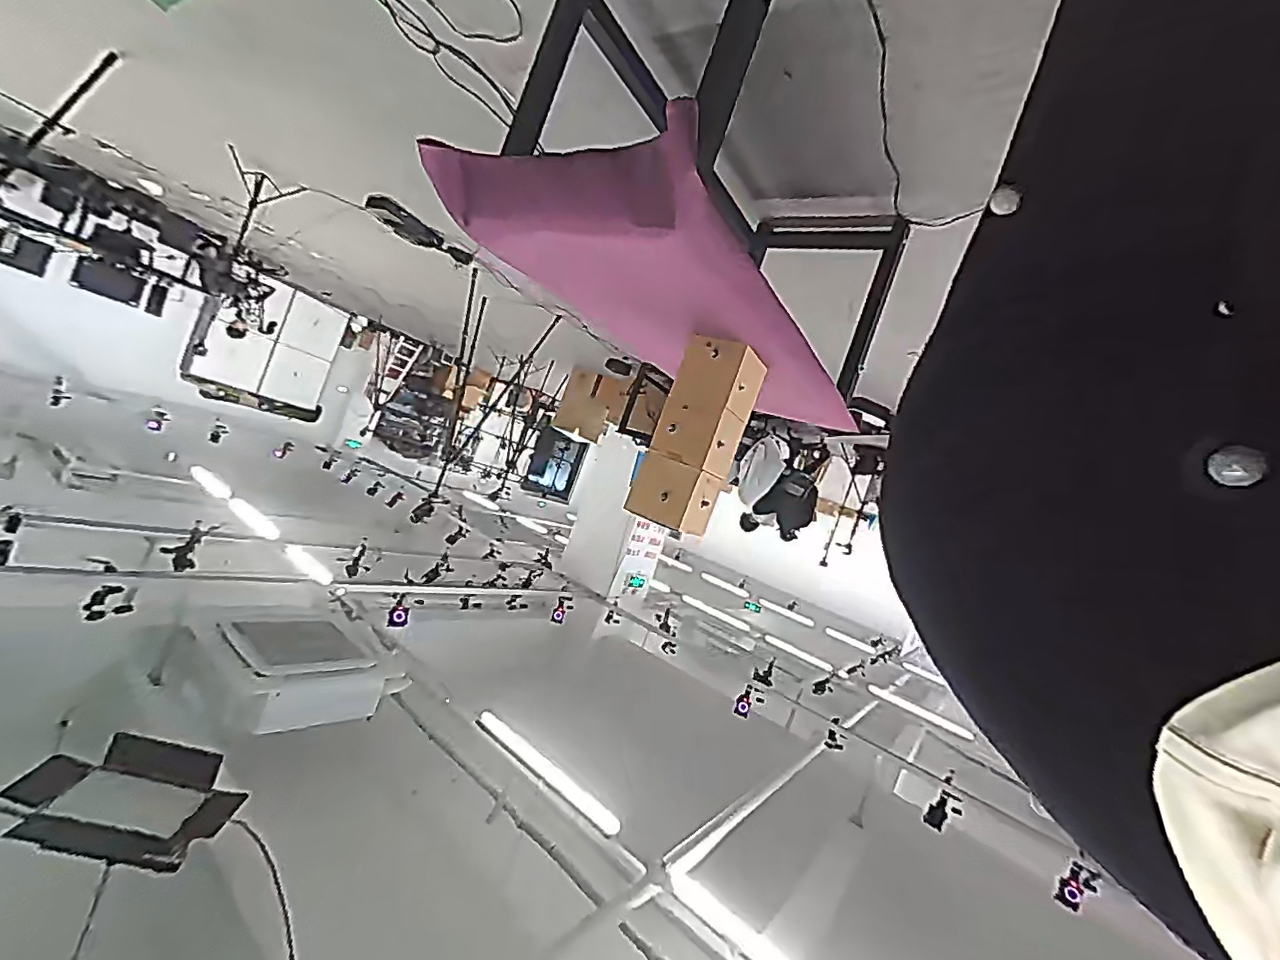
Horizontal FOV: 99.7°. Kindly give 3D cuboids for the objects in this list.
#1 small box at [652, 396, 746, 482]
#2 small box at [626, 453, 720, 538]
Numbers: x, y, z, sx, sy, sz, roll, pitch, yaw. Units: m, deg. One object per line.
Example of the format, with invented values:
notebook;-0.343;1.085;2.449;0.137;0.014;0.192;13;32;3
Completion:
small box;0.161;-0.111;1.435;0.168;0.176;0.179;21;179;31
small box;0.097;0.039;1.436;0.179;0.176;0.168;20;178;31
